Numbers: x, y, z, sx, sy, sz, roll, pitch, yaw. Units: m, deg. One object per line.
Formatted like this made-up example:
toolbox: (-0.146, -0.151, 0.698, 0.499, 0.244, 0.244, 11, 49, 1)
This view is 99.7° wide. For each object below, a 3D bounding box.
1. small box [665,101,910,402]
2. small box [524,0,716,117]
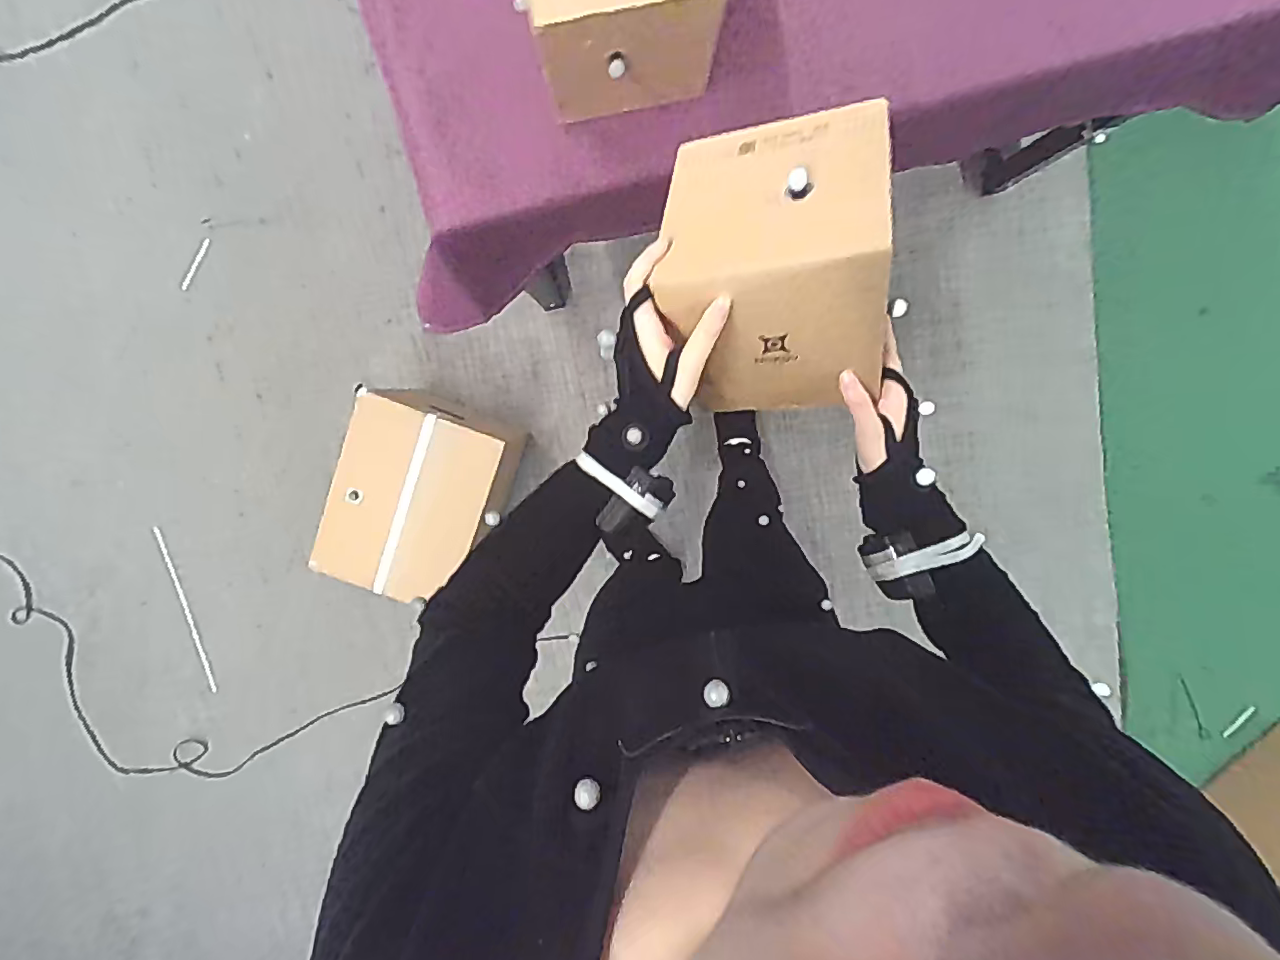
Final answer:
small box: (0.130, -0.188, 0.468, 0.168, 0.179, 0.176, 1, 64, 21)
small box: (-0.024, -0.499, 0.539, 0.179, 0.176, 0.168, -10, 100, 2)
